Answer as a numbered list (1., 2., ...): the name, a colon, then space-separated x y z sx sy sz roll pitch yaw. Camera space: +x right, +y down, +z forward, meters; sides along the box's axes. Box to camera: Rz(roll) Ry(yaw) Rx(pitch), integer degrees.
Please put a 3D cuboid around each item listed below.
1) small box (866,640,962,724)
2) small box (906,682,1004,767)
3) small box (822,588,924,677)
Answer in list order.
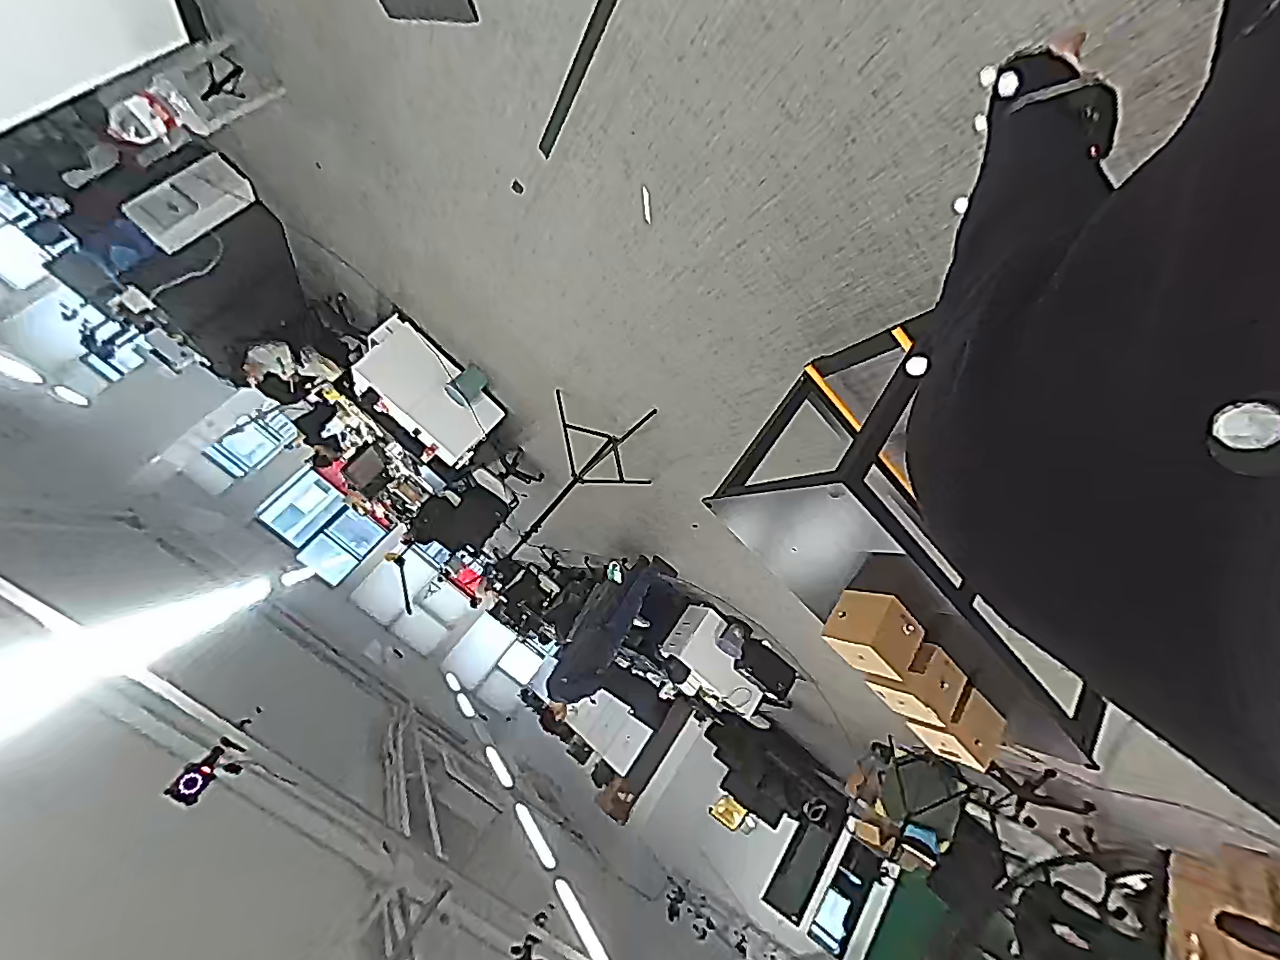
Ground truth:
1. small box: 0.815 0.579 1.594 0.168 0.176 0.179 45 157 -15
2. small box: 0.963 0.726 1.647 0.179 0.176 0.168 45 158 -12
3. small box: 0.662 0.425 1.534 0.168 0.176 0.179 44 157 -16
